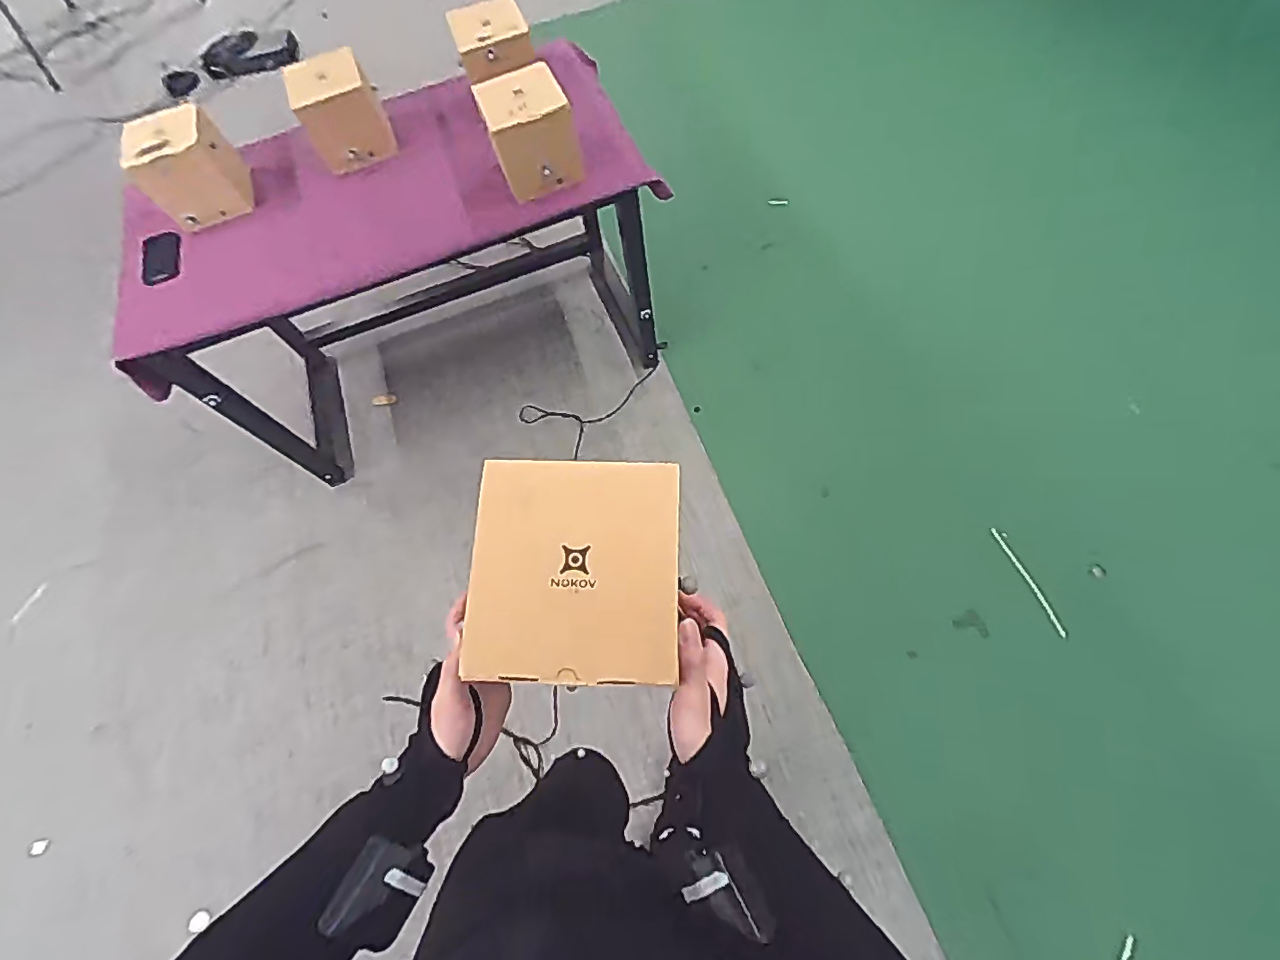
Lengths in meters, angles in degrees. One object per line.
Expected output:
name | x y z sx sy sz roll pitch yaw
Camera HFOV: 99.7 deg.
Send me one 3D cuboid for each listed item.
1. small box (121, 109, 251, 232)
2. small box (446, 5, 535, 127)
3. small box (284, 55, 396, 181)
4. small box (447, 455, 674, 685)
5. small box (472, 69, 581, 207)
small box | -1.041 -0.706 1.254 0.168 0.176 0.179 -21 64 -4
small box | -0.348 -0.998 1.317 0.168 0.176 0.179 -20 64 -2
small box | -0.711 -0.859 1.293 0.168 0.176 0.179 -22 65 -3
small box | -0.056 0.088 0.494 0.168 0.176 0.179 1 73 2
small box | -0.243 -0.740 1.180 0.168 0.176 0.179 -23 65 -3
